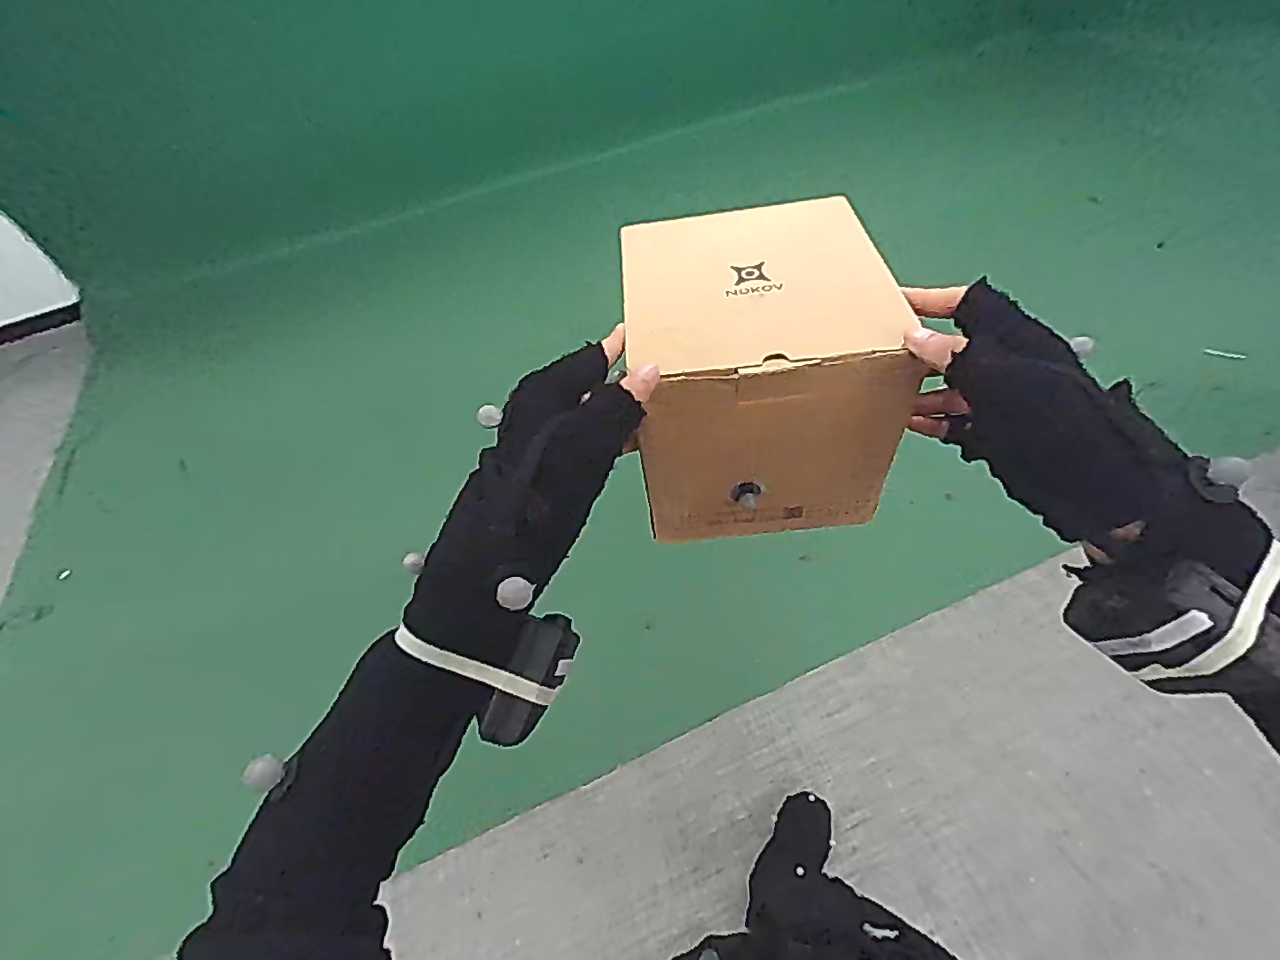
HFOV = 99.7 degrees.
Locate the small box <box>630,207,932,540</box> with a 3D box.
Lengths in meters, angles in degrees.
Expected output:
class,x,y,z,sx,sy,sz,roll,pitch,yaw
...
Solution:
class,x,y,z,sx,sy,sz,roll,pitch,yaw
small box,0.083,-0.076,0.410,0.168,0.176,0.179,-6,51,4
